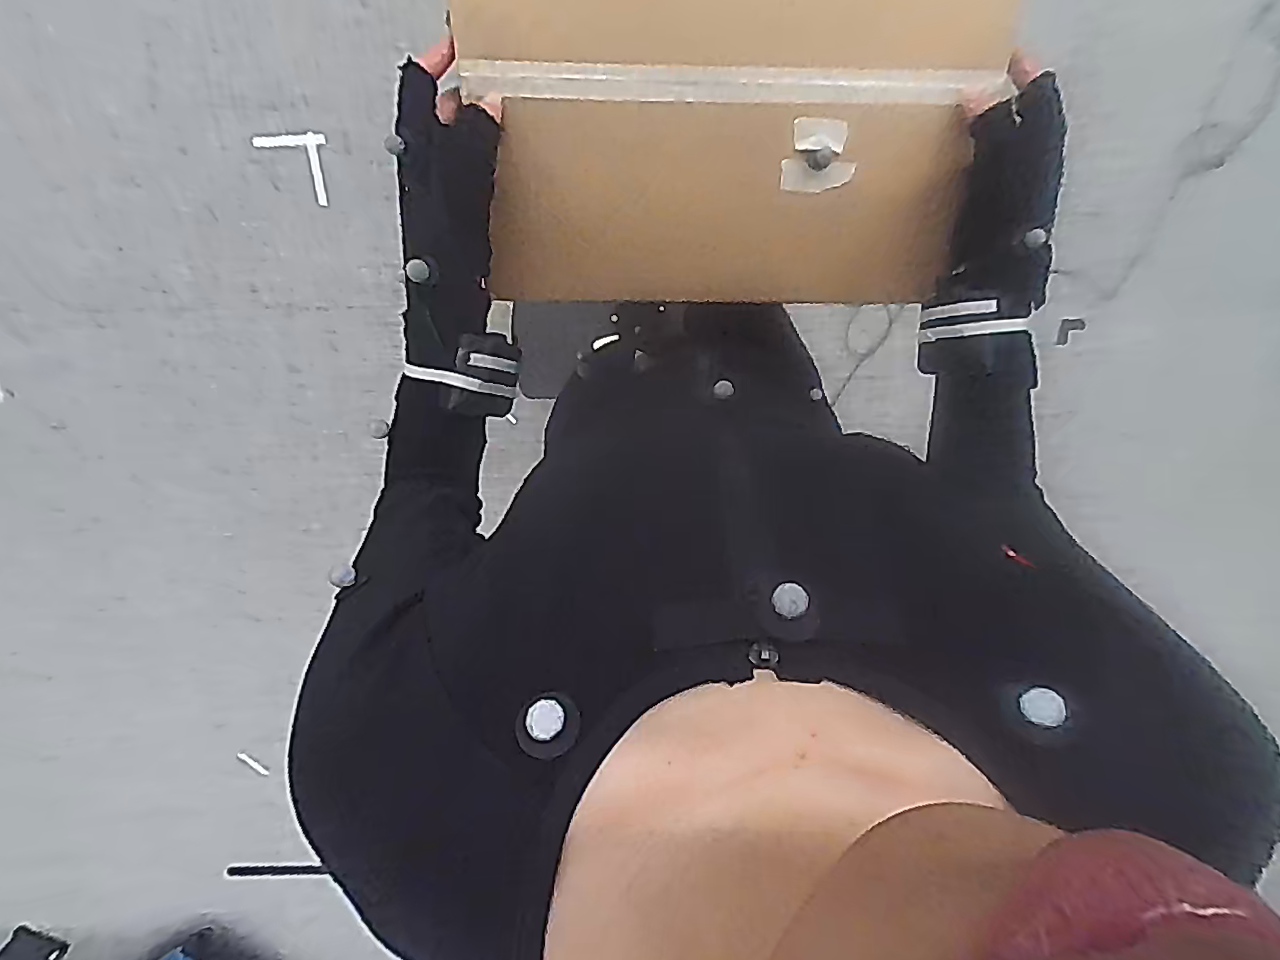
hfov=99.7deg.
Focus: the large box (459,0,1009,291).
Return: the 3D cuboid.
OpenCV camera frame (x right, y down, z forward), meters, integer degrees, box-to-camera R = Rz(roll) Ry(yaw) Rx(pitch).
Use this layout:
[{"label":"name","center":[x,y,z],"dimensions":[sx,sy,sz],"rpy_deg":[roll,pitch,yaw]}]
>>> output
[{"label":"large box","center":[0.060,-0.379,0.536],"dimensions":[0.408,0.320,0.320],"rpy_deg":[-2,120,-4]}]
